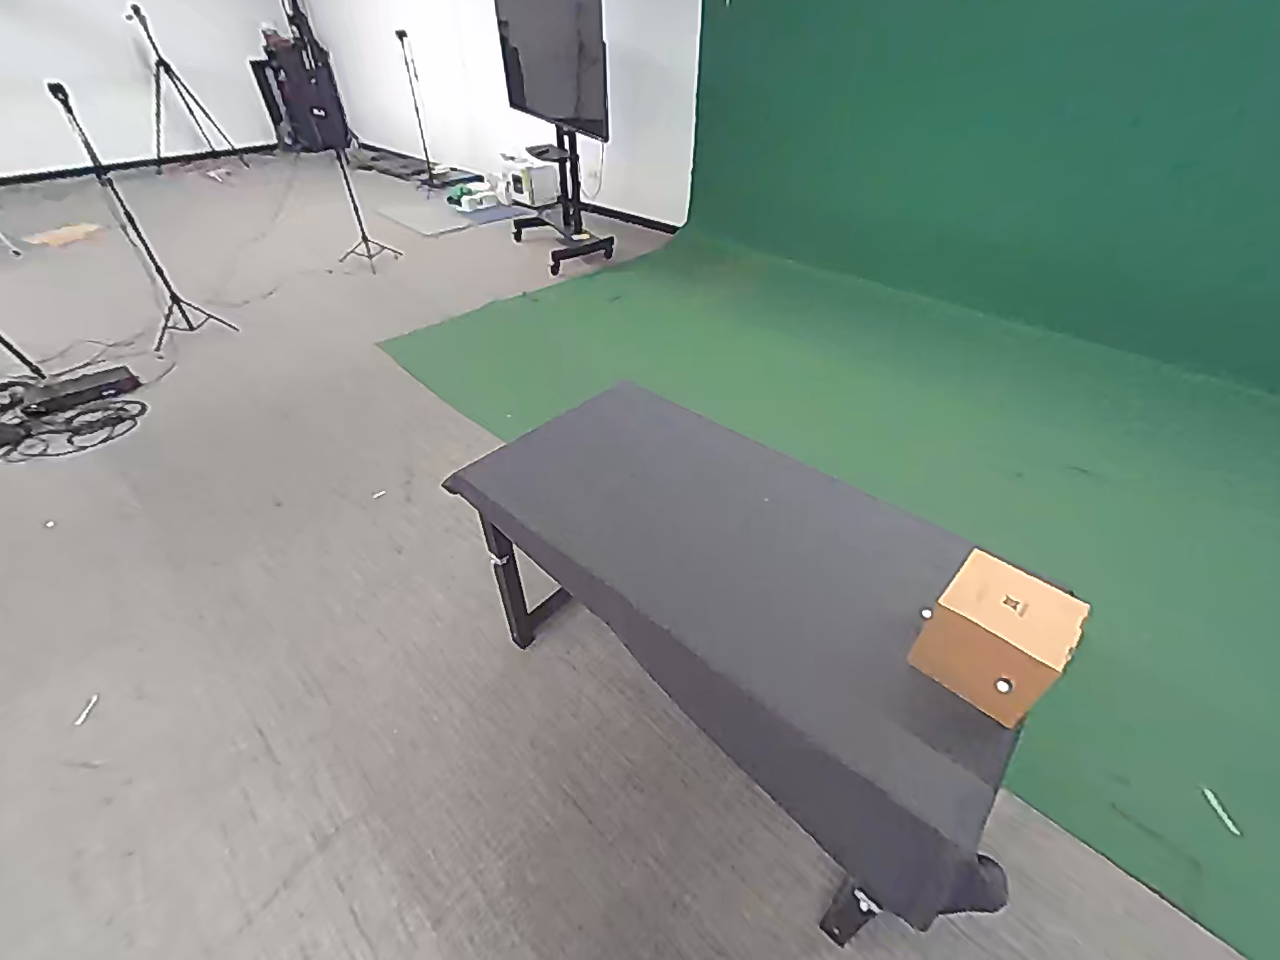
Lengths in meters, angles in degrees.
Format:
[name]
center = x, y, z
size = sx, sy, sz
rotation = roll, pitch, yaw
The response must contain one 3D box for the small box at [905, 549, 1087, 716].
[small box]
center = 0.573, 0.253, 0.887
size = 0.179, 0.176, 0.168
rotation = 31, 49, 33
